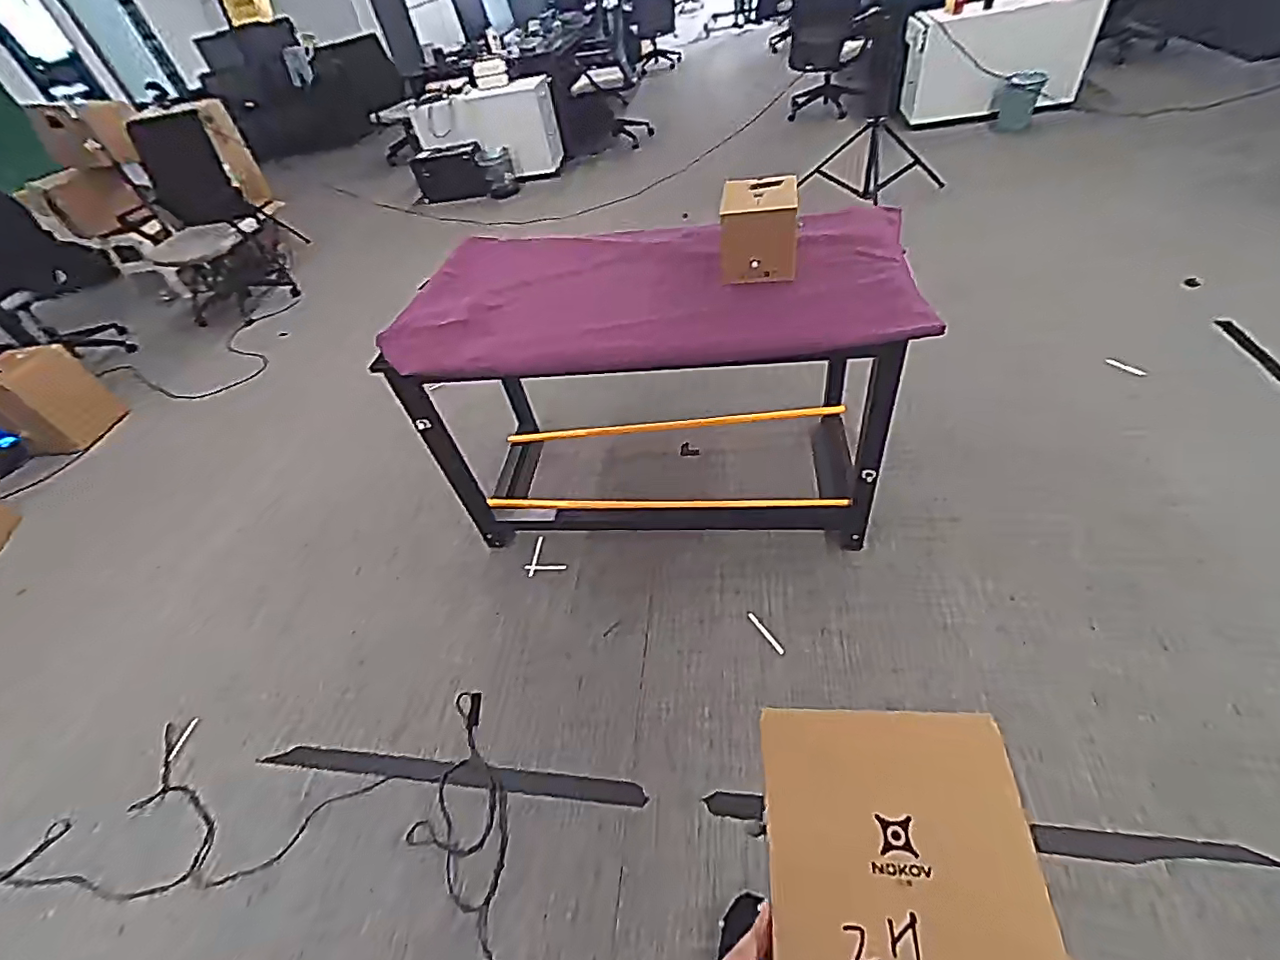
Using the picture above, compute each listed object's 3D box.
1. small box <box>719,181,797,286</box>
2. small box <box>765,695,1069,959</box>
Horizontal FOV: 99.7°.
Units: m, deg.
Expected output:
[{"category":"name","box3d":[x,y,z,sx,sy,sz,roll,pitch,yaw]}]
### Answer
[{"category":"small box","box3d":[0.277,-0.575,1.267,0.168,0.176,0.179,1,48,14]},{"category":"small box","box3d":[0.182,0.281,0.413,0.168,0.176,0.179,-3,52,13]}]
